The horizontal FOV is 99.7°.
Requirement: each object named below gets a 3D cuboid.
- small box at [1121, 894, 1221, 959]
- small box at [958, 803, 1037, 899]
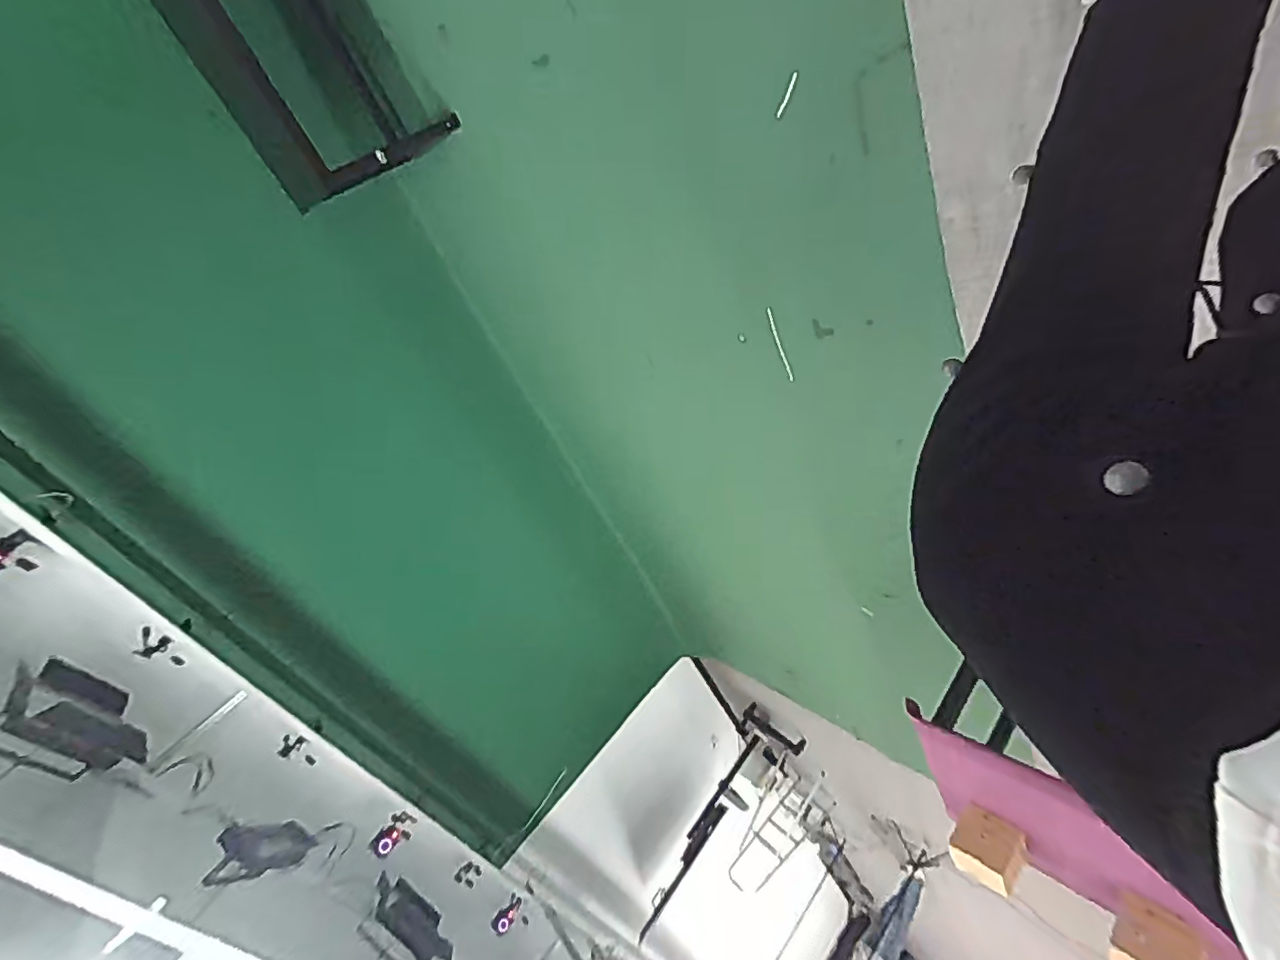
[{"bbox_3d":[1.445,1.288,1.474,0.168,0.176,0.179,13,139,53],"label":"small box"},{"bbox_3d":[1.191,1.224,1.798,0.168,0.176,0.179,13,139,52],"label":"small box"}]
